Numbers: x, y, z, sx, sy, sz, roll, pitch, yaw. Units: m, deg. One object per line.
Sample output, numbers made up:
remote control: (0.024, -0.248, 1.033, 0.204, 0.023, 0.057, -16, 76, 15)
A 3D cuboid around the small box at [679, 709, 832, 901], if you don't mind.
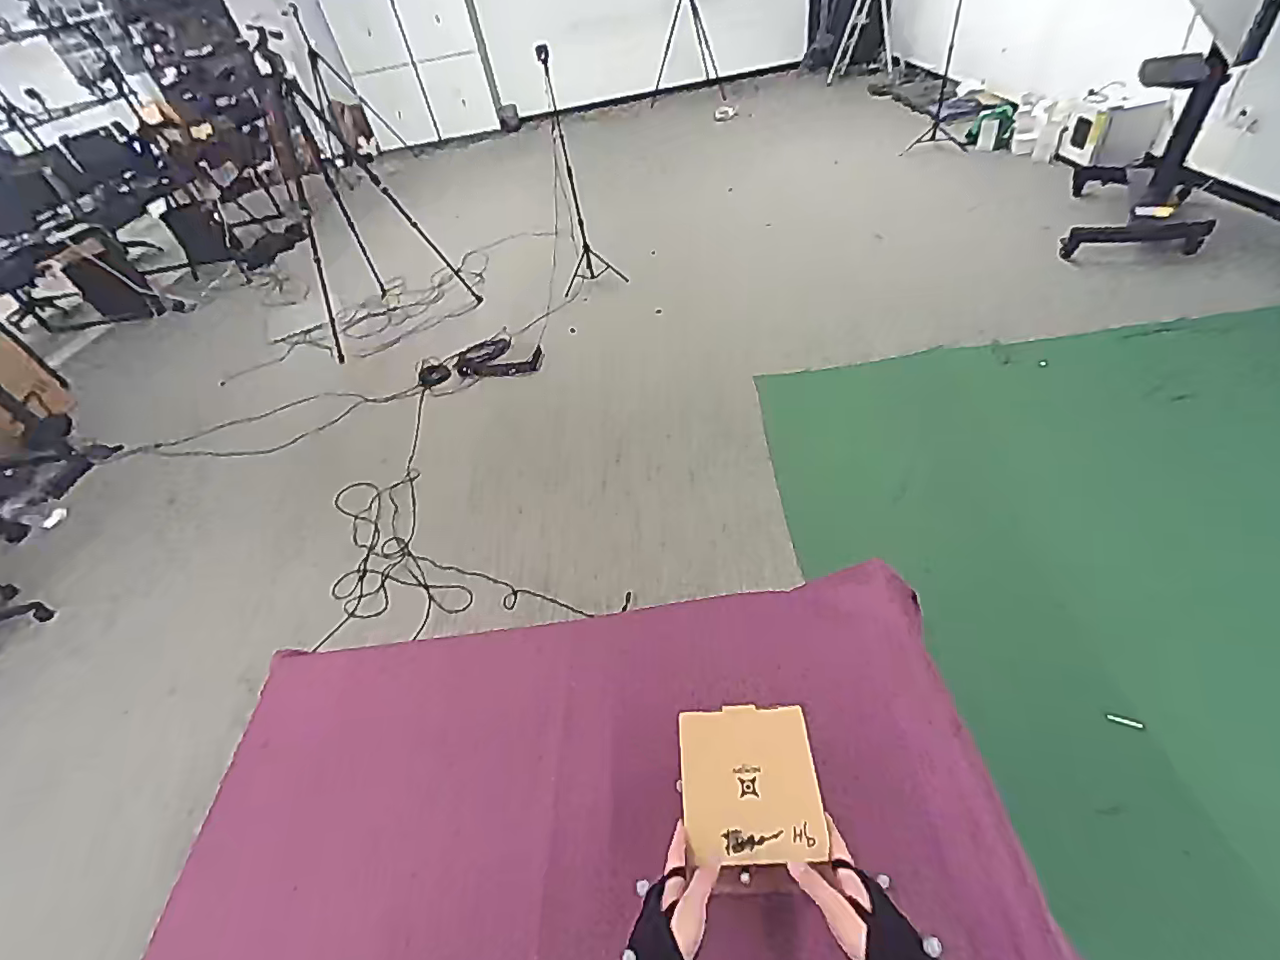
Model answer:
small box: (0.140, 0.423, 0.704, 0.168, 0.176, 0.179, -6, 43, 7)
